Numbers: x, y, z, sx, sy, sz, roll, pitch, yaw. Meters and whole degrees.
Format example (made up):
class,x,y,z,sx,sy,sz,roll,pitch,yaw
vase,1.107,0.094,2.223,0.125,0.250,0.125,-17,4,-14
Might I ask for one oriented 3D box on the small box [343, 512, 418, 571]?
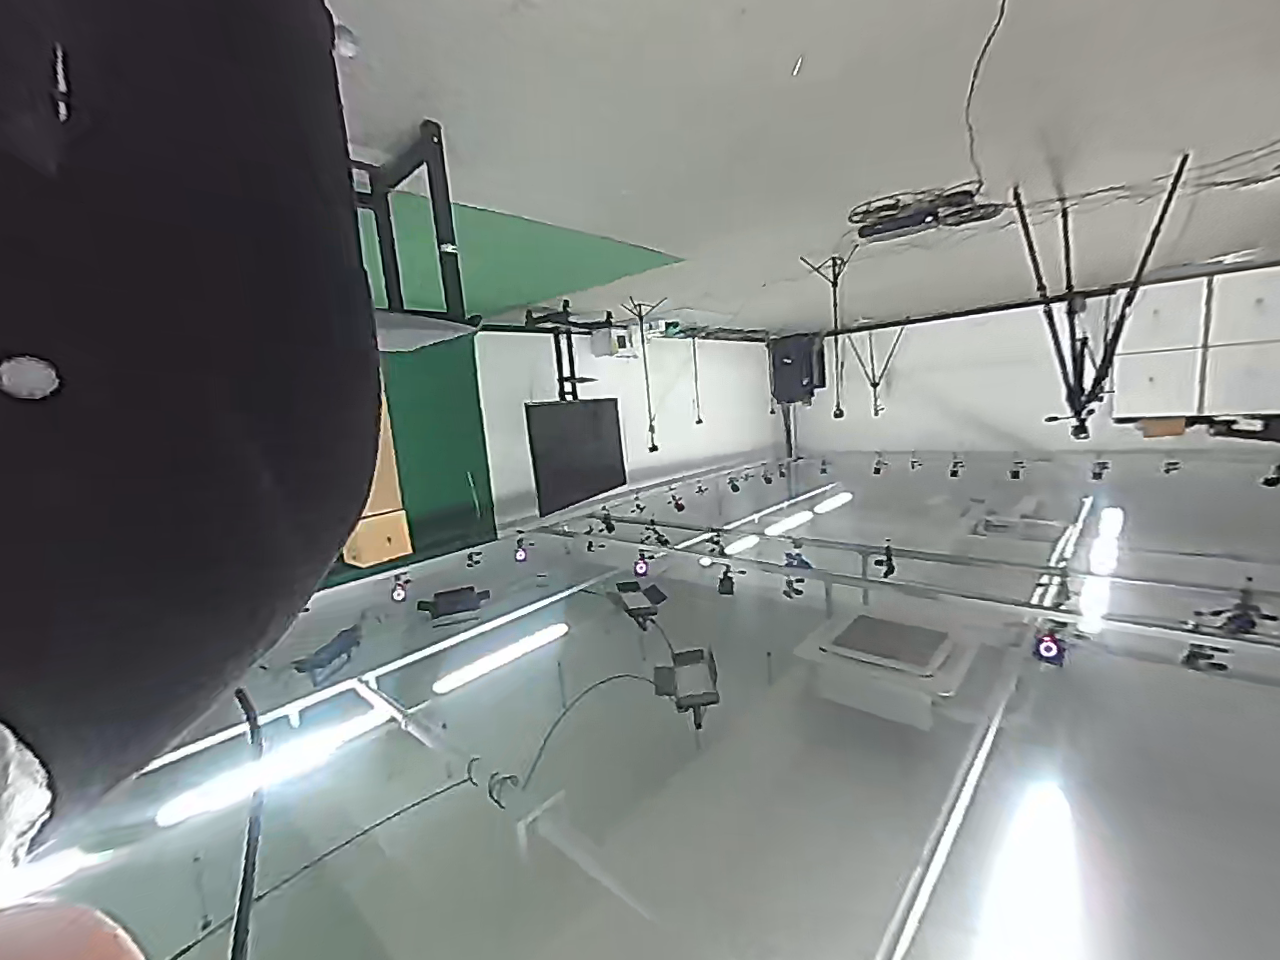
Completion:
class,x,y,z,sx,sy,sz,roll,pitch,yaw
small box,-0.939,0.214,1.954,0.168,0.176,0.179,0,-168,41
